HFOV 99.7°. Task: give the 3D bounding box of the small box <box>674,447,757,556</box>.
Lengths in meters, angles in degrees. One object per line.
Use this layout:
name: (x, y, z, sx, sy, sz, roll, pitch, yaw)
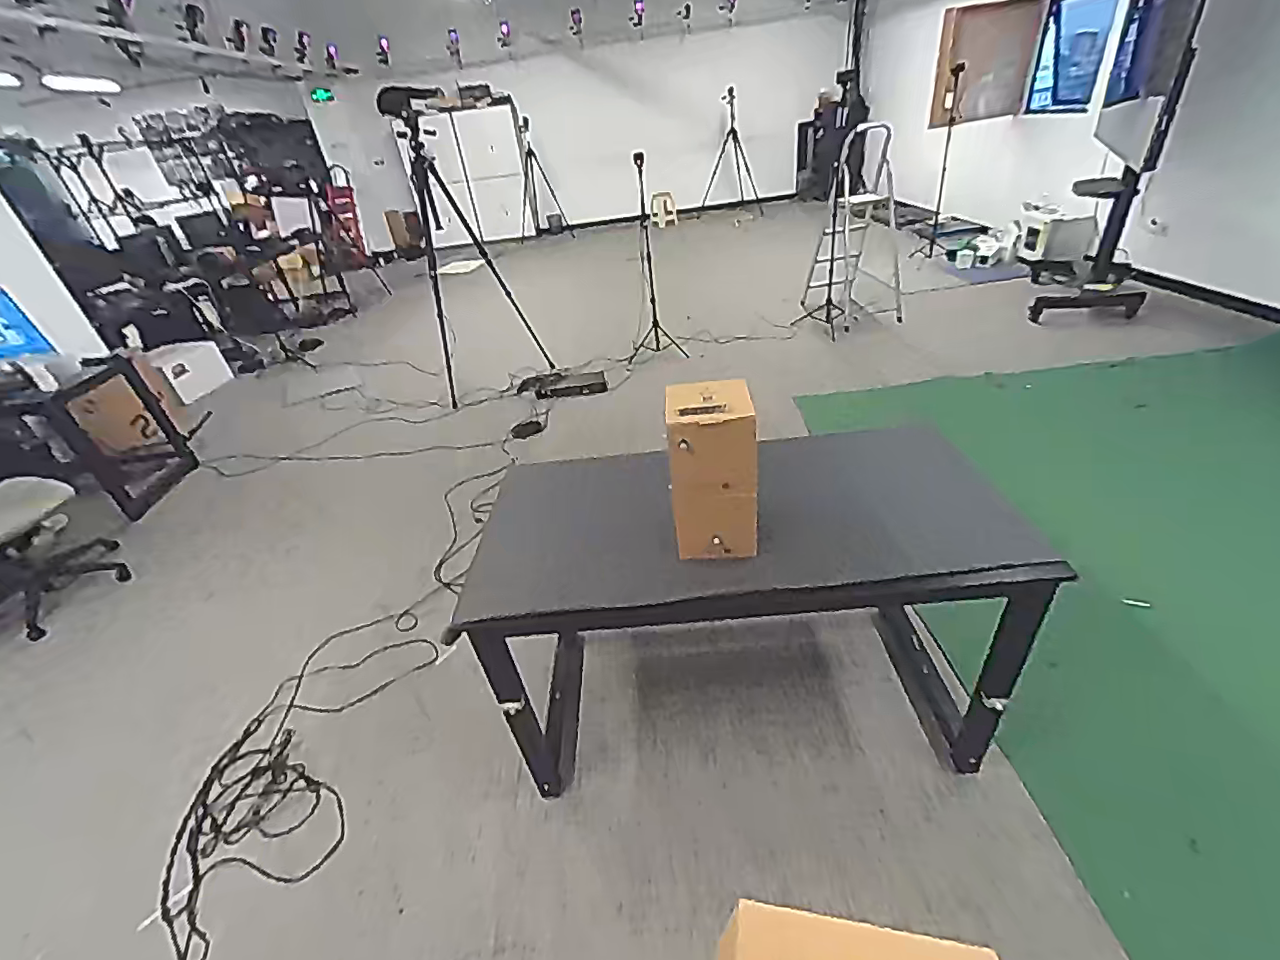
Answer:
small box: (0.165, 0.047, 1.180, 0.168, 0.176, 0.179, -4, 34, 8)
